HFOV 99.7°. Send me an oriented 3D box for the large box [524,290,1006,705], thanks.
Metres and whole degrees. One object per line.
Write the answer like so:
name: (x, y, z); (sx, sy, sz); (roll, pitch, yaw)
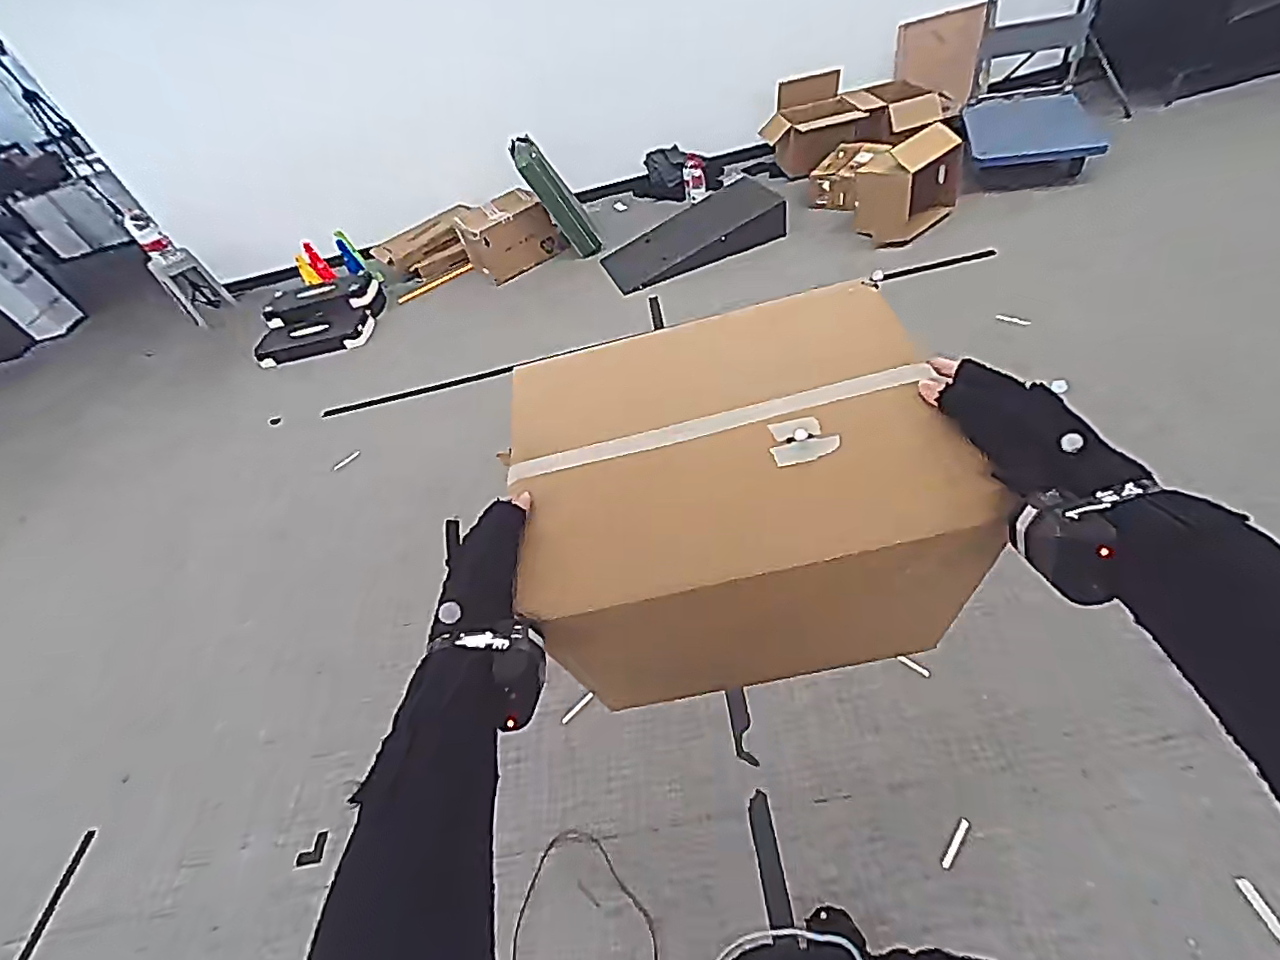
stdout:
large box: (0.106, 0.037, 0.646); (0.408, 0.320, 0.320); (-13, 54, 4)
